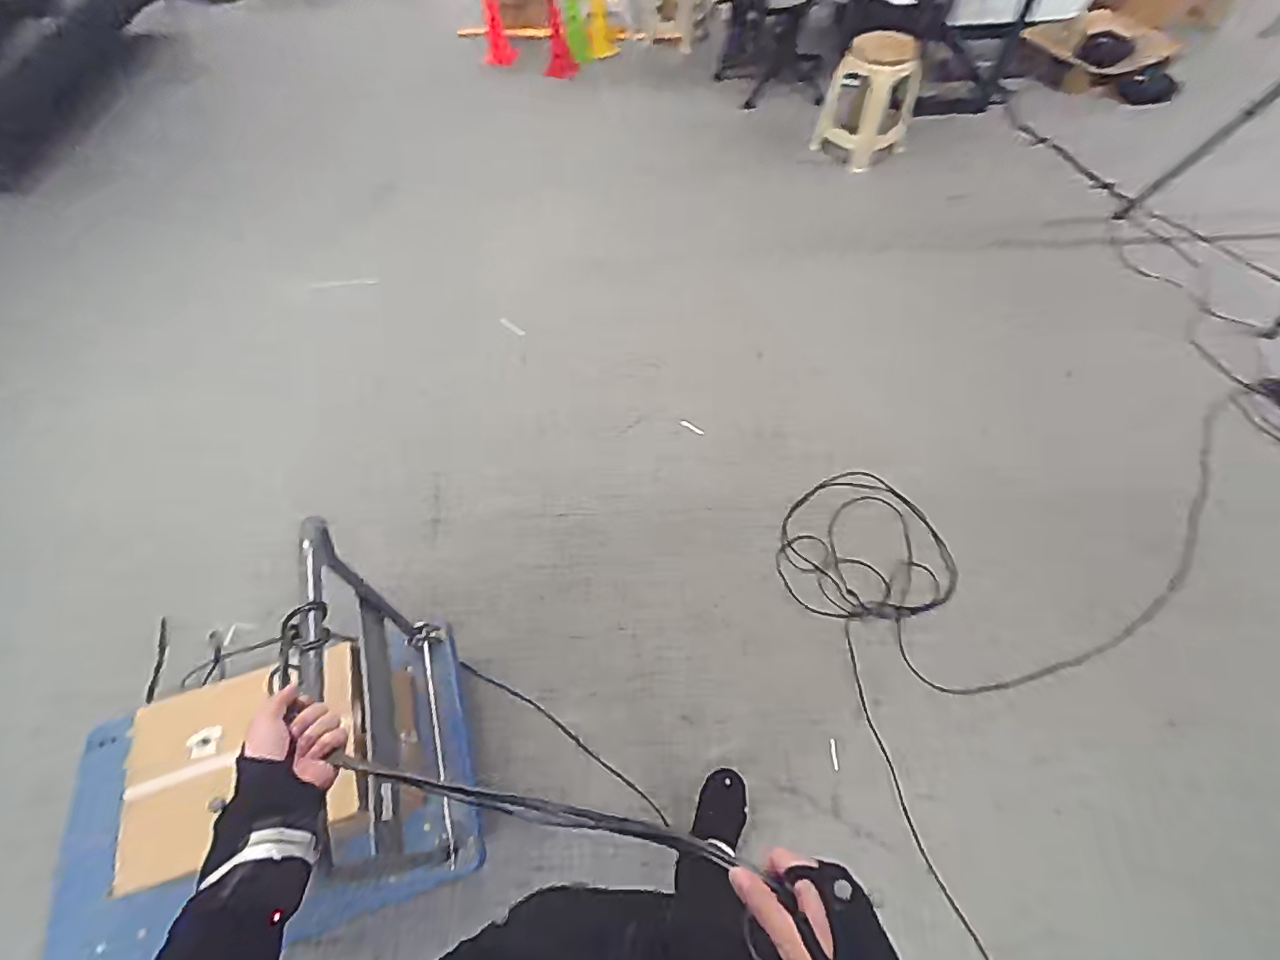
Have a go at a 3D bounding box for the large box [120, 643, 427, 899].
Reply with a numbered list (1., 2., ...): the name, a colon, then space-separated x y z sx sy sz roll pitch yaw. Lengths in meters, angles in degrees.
1. large box: -0.710 0.582 1.115 0.408 0.320 0.320 -17 59 -7
